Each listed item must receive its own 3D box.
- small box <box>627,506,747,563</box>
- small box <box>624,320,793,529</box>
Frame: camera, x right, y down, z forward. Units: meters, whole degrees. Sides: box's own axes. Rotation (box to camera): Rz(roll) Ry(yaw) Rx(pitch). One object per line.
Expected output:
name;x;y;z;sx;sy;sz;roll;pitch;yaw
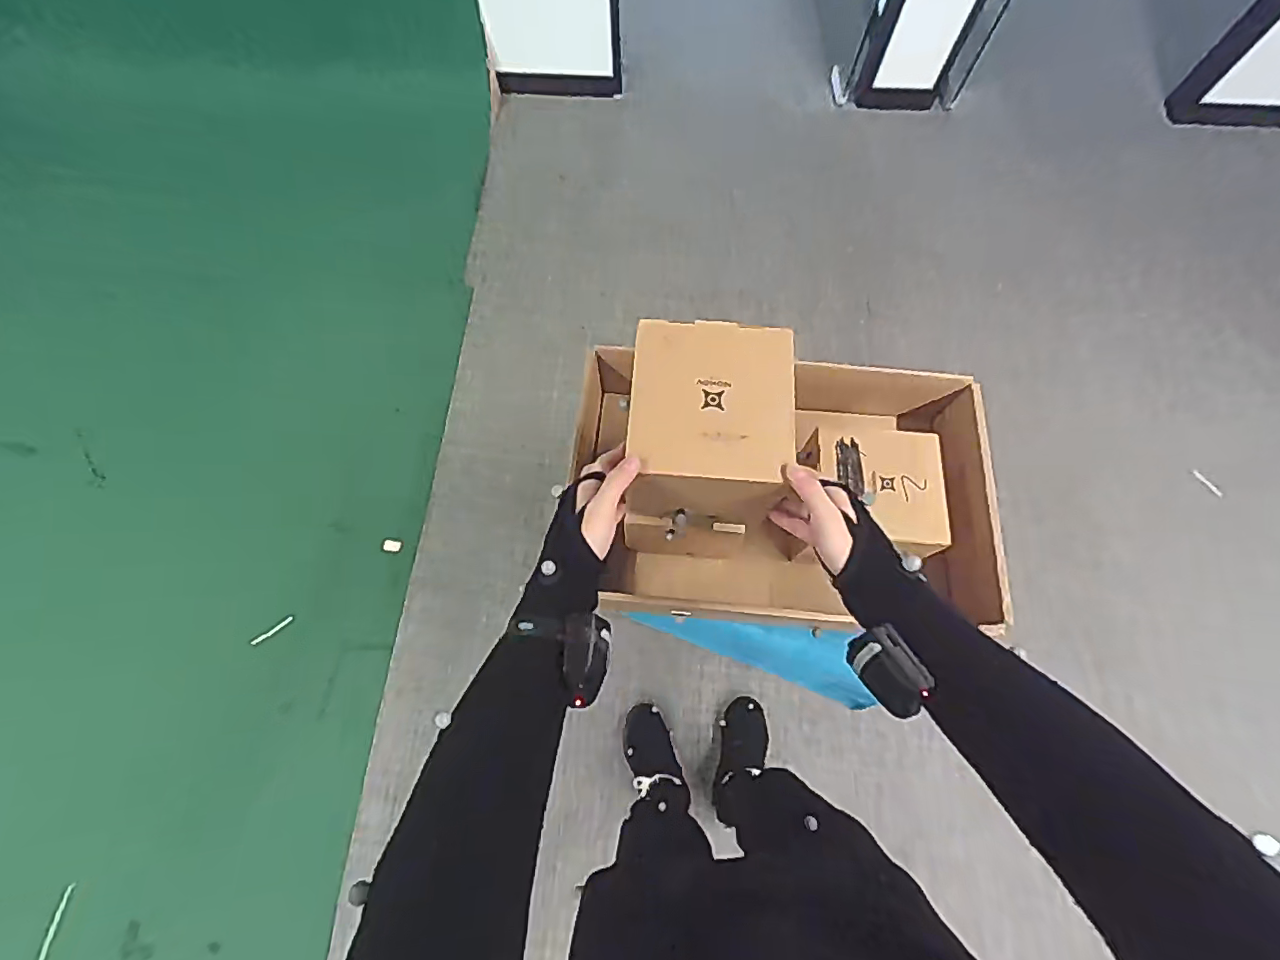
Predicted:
small box;0.071;0.017;0.833;0.168;0.176;0.179;5;69;3
small box;0.071;-0.055;0.620;0.168;0.176;0.179;5;71;1
